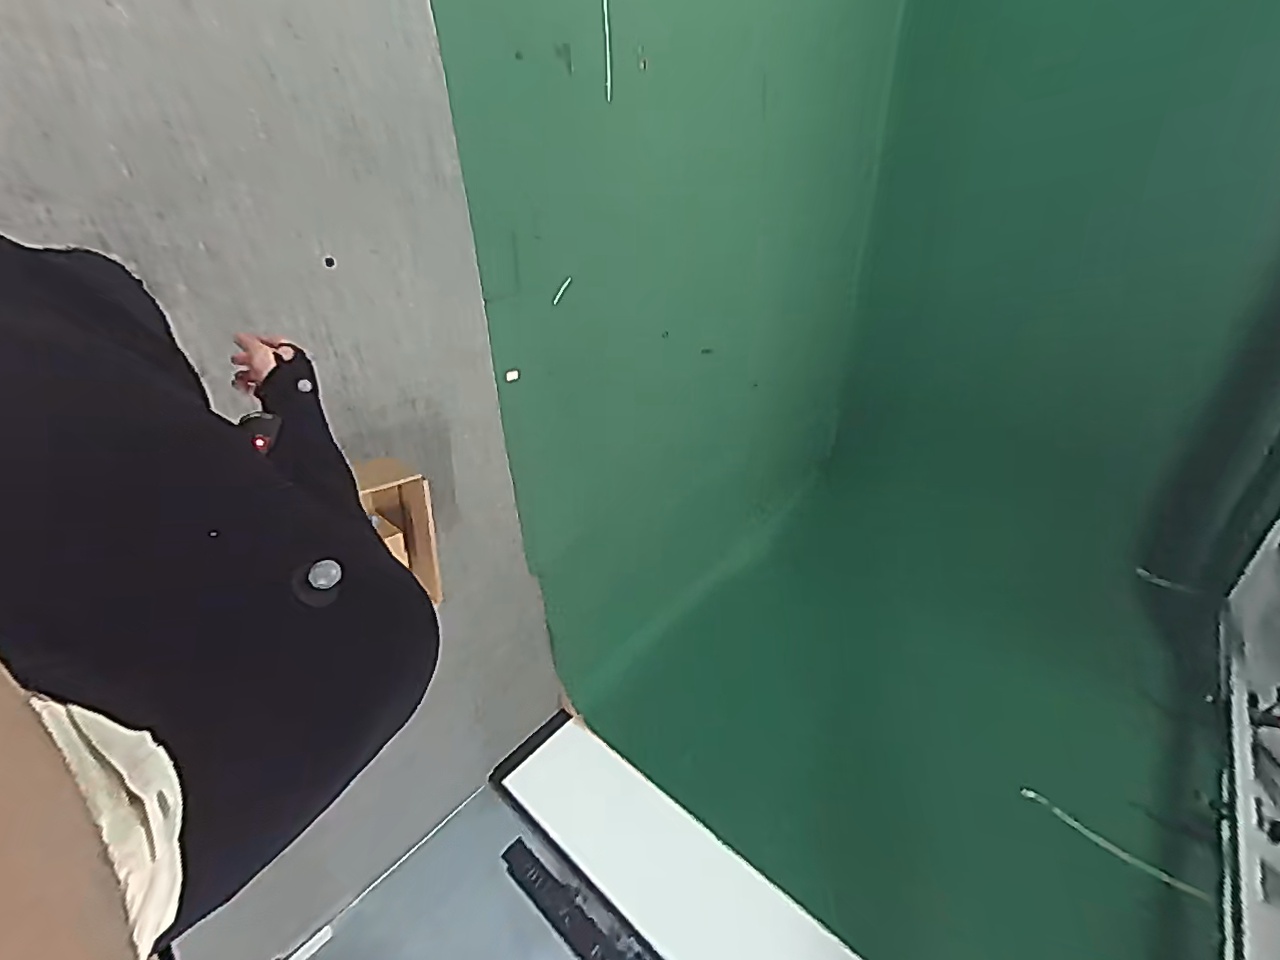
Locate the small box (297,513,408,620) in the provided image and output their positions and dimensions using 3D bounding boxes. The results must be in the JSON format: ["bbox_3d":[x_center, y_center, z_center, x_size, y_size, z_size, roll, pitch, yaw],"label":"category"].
[{"bbox_3d":[-0.692,0.198,1.307,0.179,0.176,0.168,-23,125,-44],"label":"small box"}]
